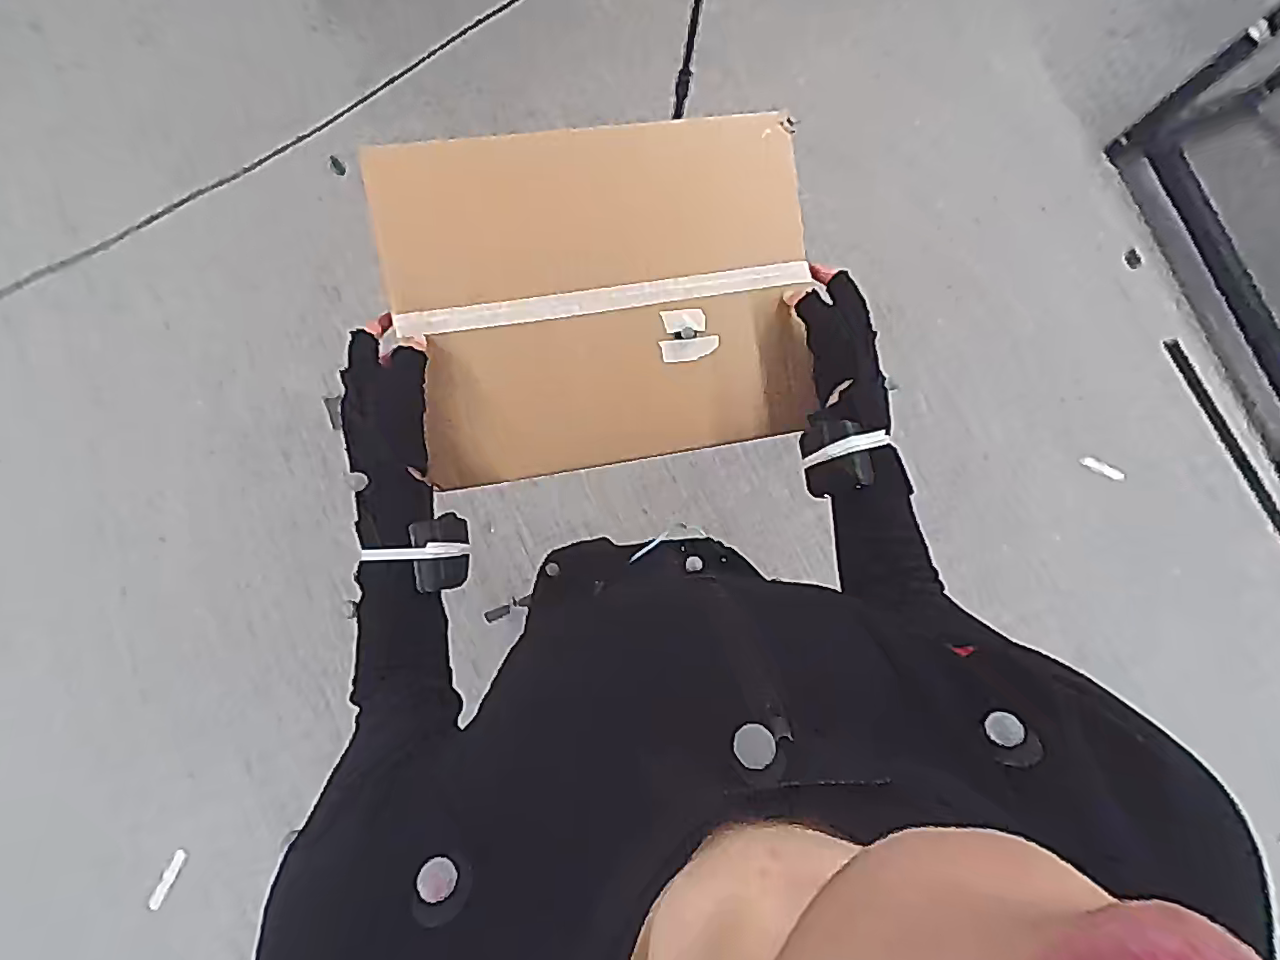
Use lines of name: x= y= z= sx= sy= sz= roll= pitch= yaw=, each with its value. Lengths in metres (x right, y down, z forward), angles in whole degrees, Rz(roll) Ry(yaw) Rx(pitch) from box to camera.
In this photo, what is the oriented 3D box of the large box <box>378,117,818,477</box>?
large box: x=-0.048 y=-0.195 z=0.679 sx=0.408 sy=0.320 sz=0.320 roll=-9 pitch=96 yaw=-8
